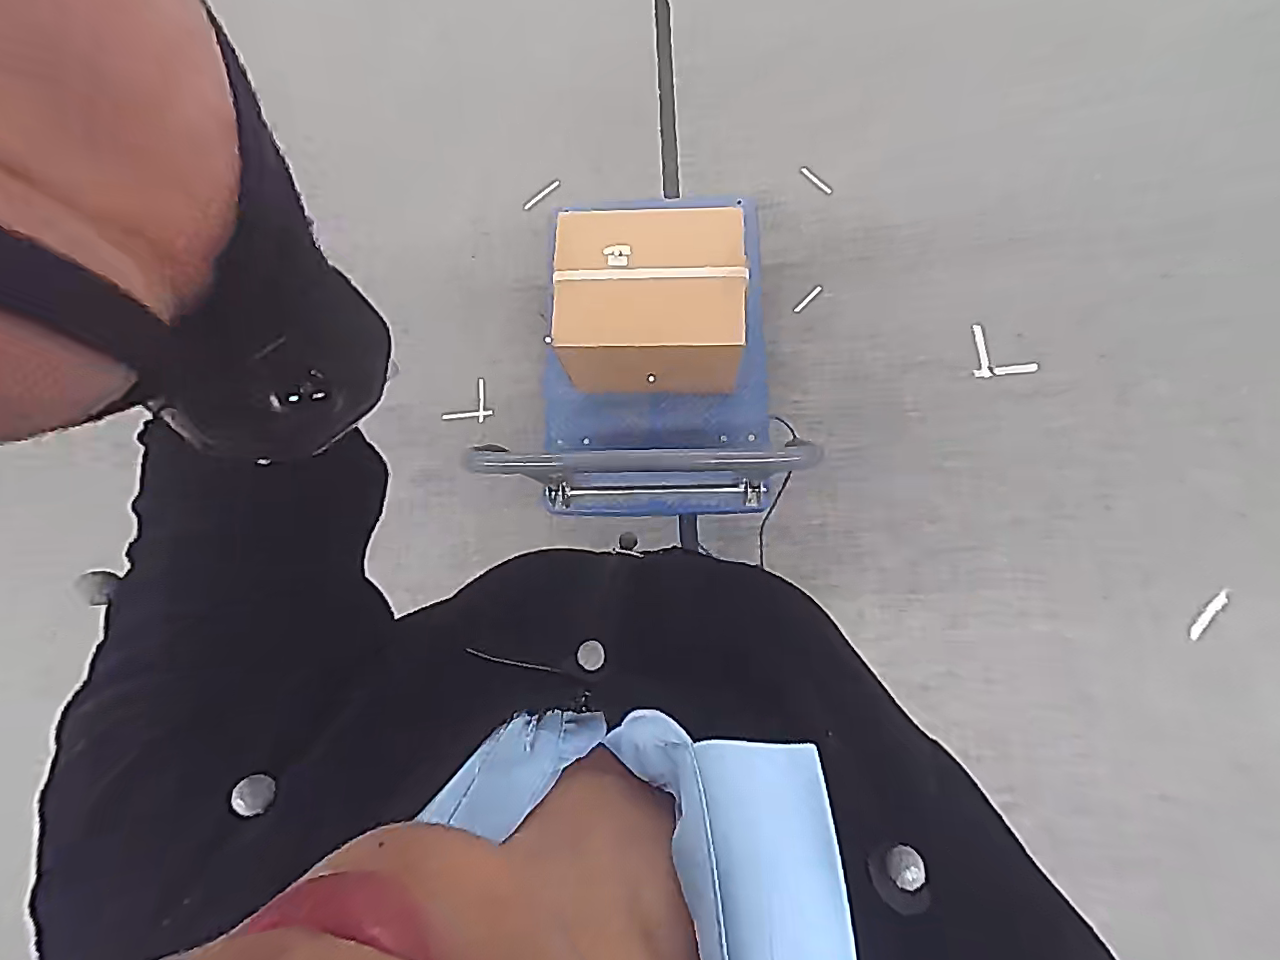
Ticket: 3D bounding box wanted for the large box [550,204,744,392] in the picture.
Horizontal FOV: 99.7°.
[{"bbox_3d":[0.027,-0.403,1.271,0.408,0.320,0.320,0,80,6],"label":"large box"}]
